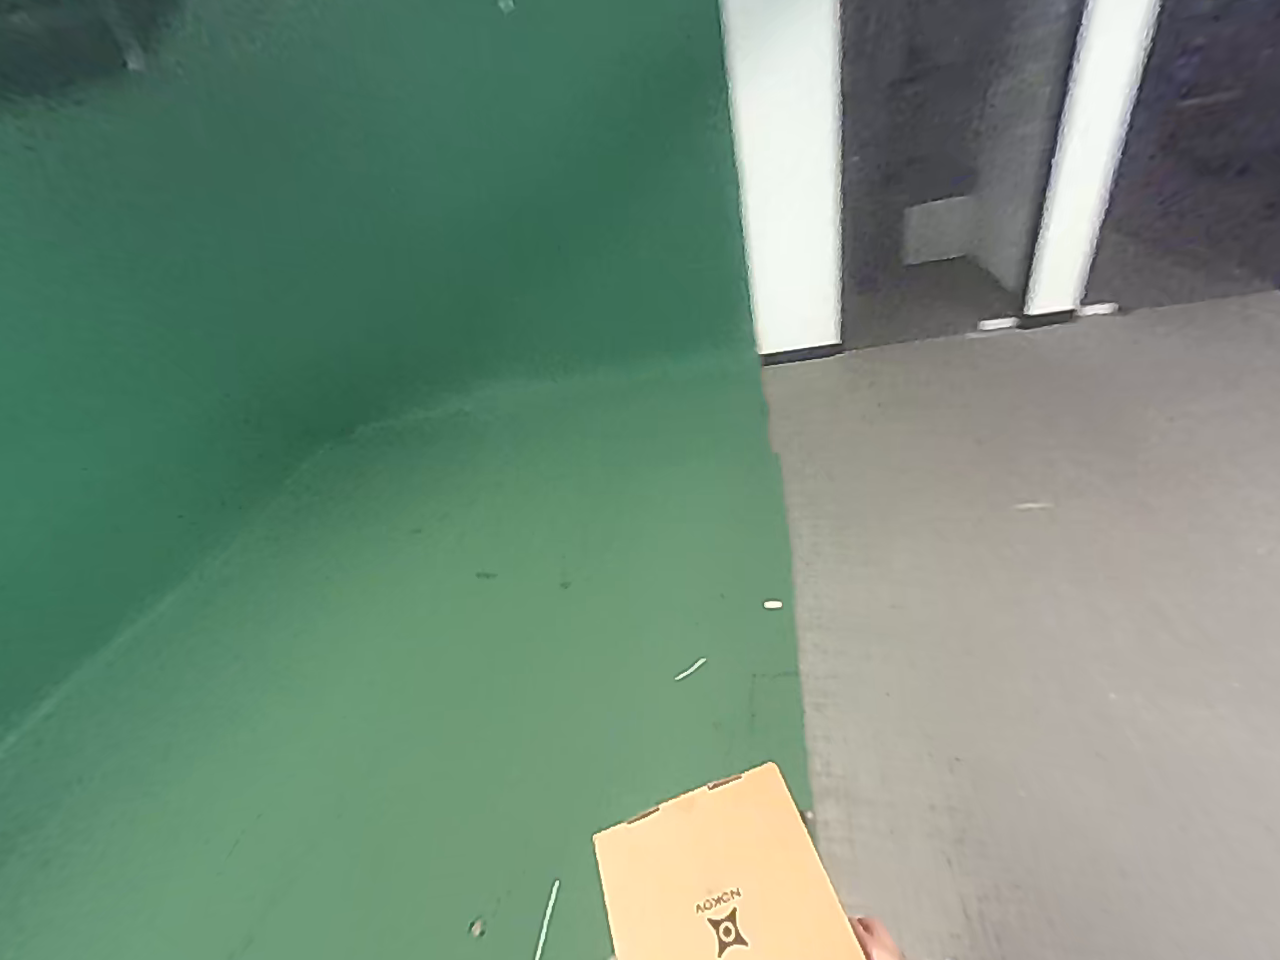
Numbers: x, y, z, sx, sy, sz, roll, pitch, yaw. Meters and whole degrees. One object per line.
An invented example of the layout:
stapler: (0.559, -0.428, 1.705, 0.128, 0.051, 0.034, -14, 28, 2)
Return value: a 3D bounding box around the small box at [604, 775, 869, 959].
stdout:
small box: (0.087, 0.380, 0.433, 0.168, 0.176, 0.179, -20, 41, -3)
